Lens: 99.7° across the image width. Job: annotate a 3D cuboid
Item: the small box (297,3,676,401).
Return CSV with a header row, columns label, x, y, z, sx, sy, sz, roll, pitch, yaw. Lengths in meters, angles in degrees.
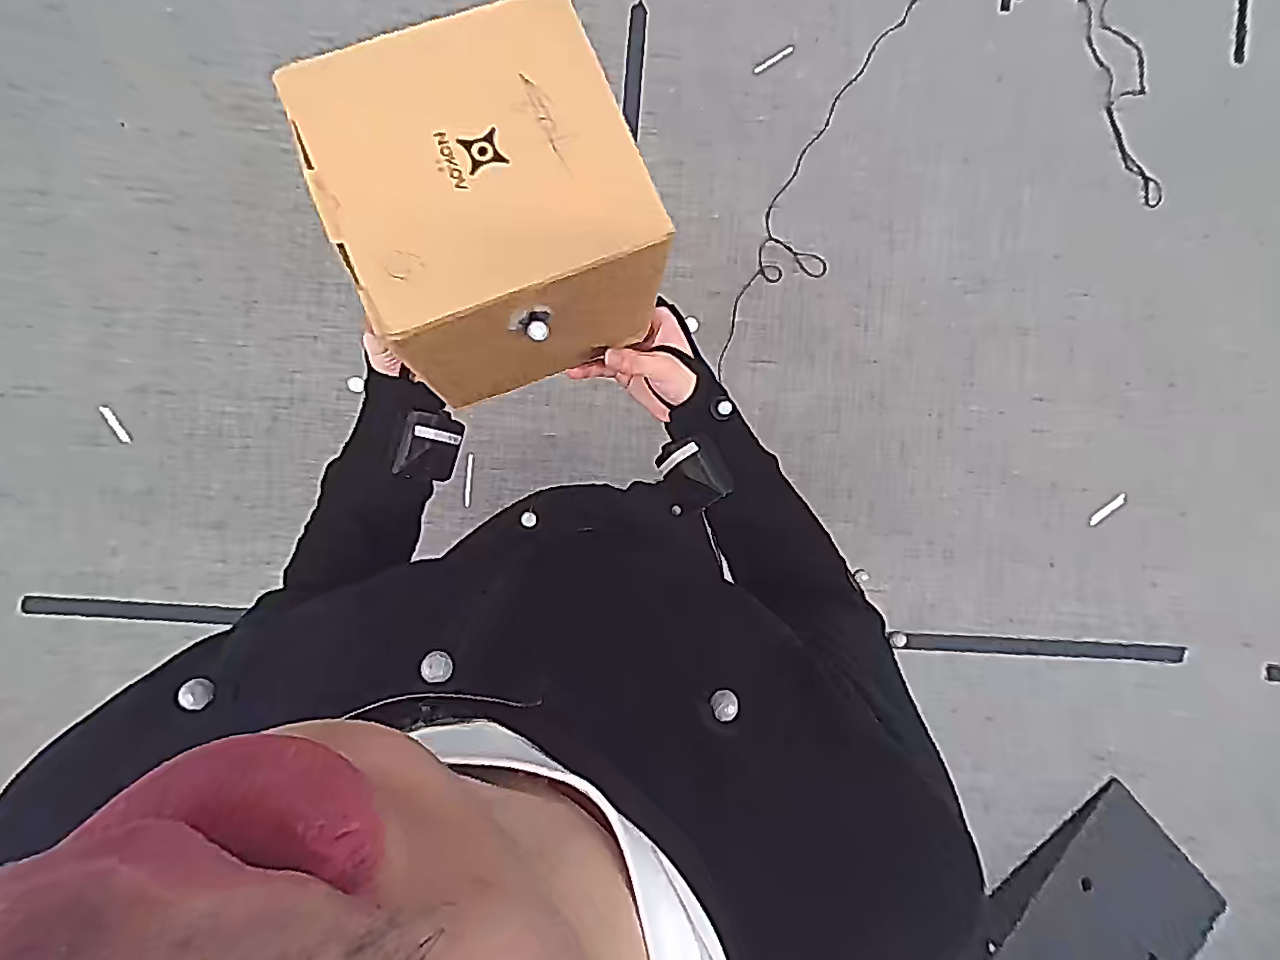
label,x,y,z,sx,sy,sz,roll,pitch,yaw
small box,-0.094,-0.175,0.392,0.179,0.176,0.168,-23,87,-8
